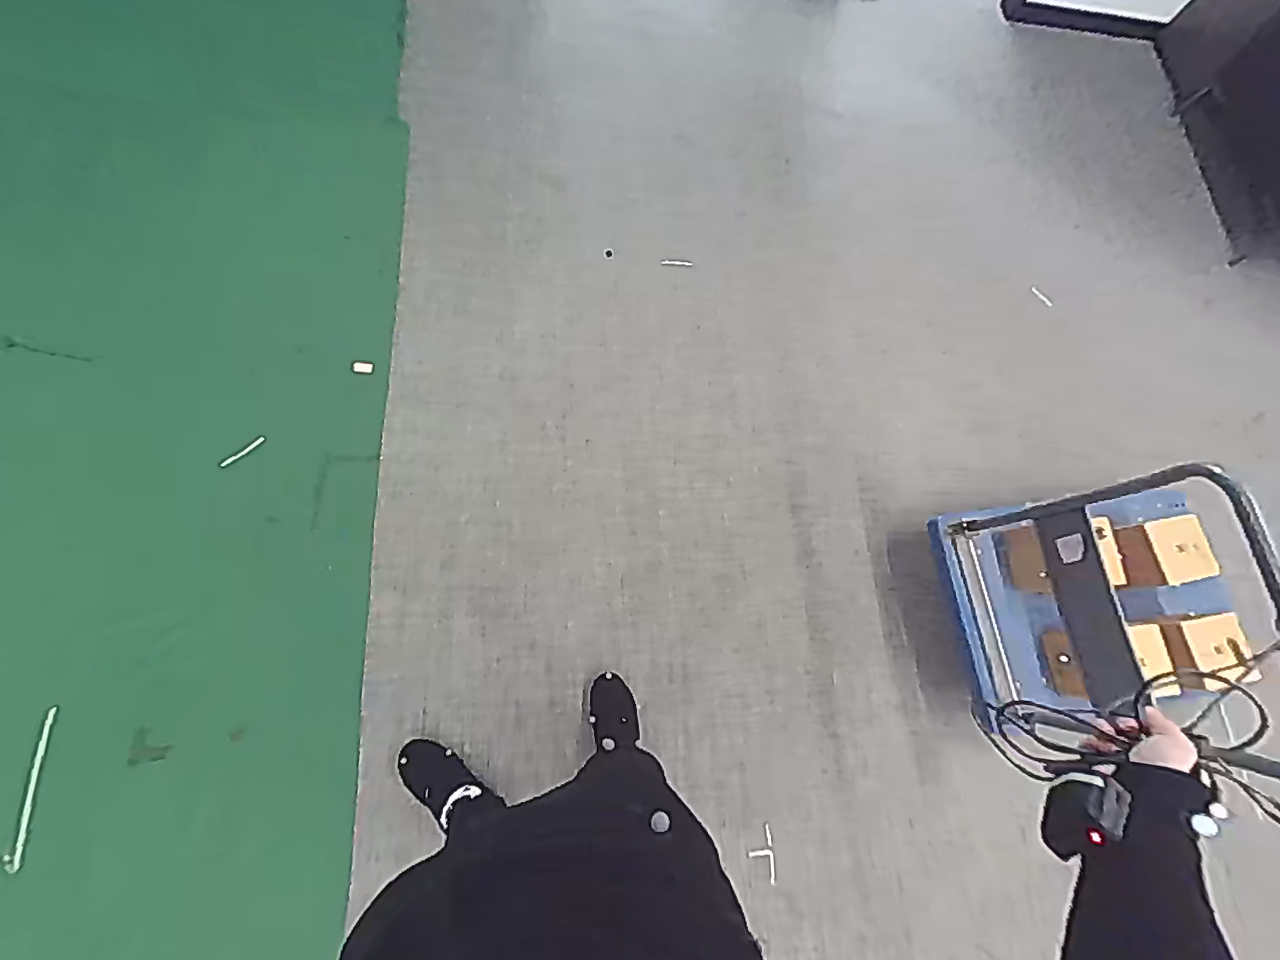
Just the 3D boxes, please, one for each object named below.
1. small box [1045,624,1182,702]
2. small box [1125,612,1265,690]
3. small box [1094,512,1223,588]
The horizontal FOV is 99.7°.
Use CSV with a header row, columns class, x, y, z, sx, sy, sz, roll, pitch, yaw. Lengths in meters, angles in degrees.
class,x,y,z,sx,sy,sz,roll,pitch,yaw
small box,1.183,0.455,1.364,0.179,0.176,0.168,-3,74,-9
small box,1.424,0.439,1.404,0.179,0.176,0.168,-7,74,-10
small box,1.393,0.194,1.470,0.179,0.176,0.168,-8,76,-11
